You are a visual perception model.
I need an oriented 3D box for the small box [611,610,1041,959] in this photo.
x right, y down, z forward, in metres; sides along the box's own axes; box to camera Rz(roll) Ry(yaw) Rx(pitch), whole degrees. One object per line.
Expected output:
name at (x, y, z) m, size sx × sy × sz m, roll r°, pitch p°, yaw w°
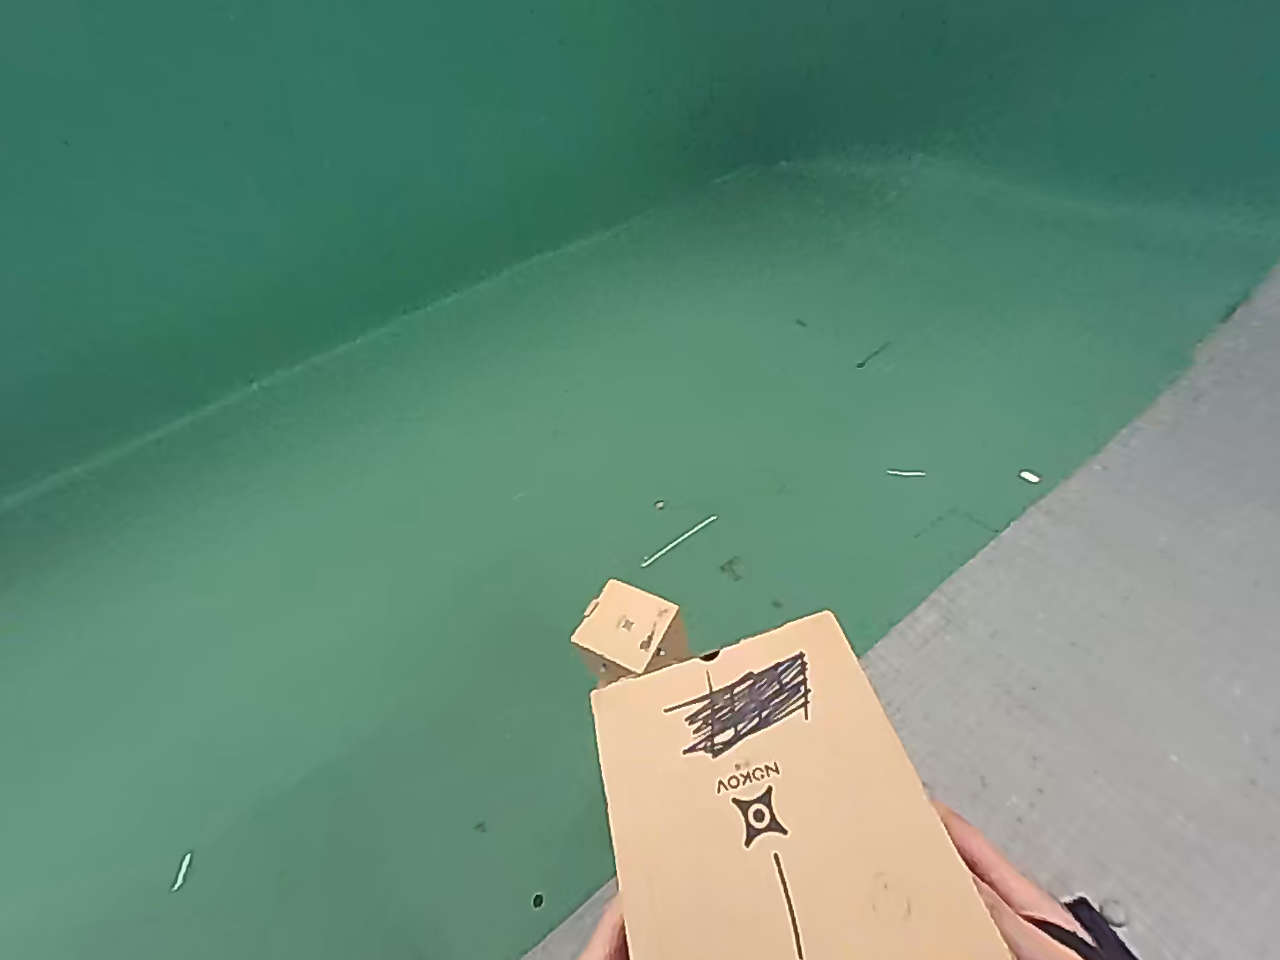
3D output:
small box at (0.095, 0.217, 0.340) m, size 0.168 × 0.176 × 0.179 m, roll -20°, pitch 46°, yaw 4°

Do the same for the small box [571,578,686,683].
small box at (-0.017, 0.347, 1.175) m, size 0.179 × 0.176 × 0.168 m, roll 17°, pitch 54°, yaw 27°
